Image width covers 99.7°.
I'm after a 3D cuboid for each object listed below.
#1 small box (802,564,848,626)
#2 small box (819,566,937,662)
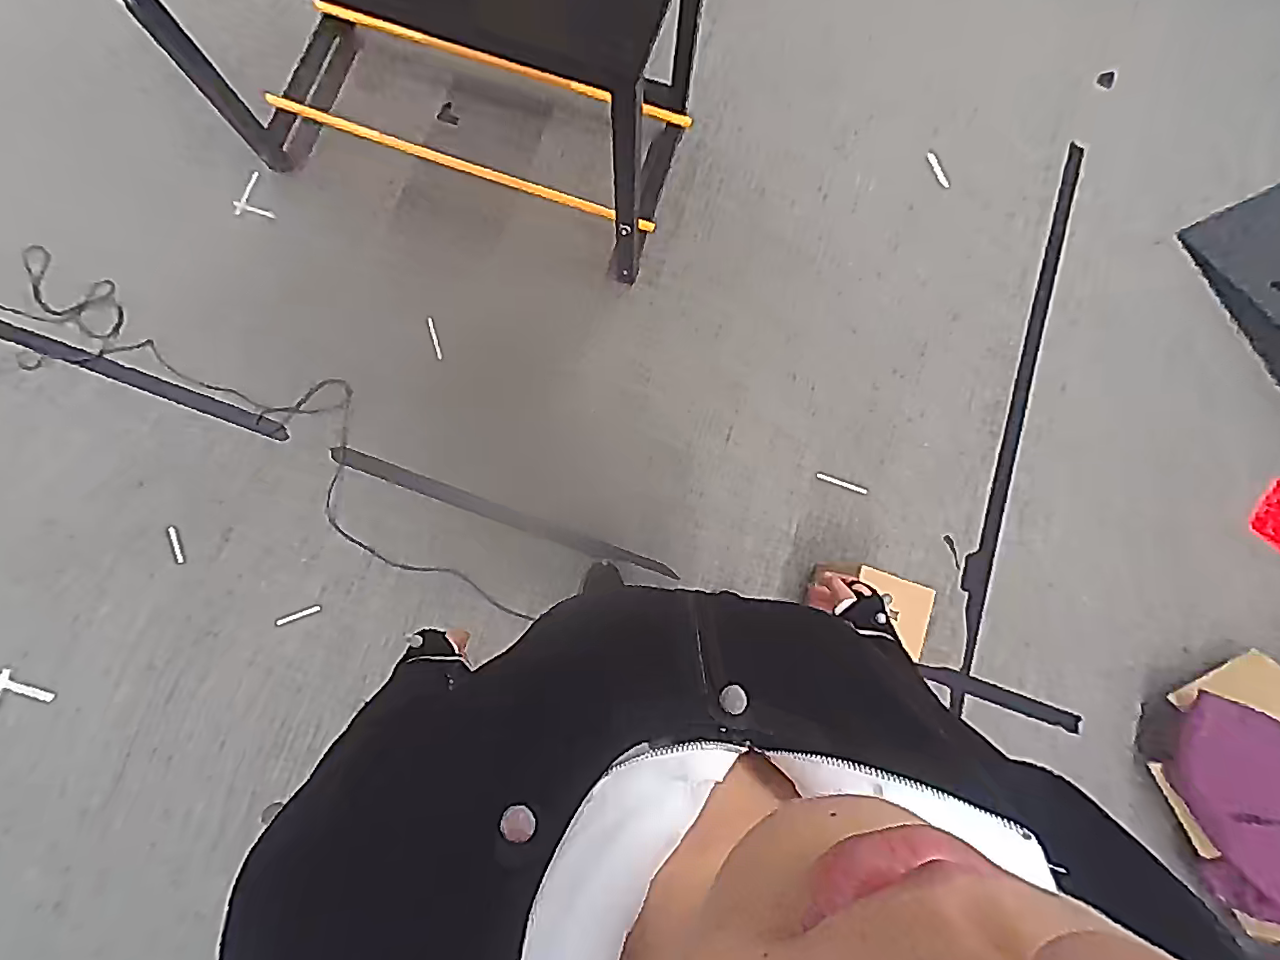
[{"bbox_3d":[0.555,0.327,1.430,0.179,0.176,0.168,19,80,3],"label":"small box"},{"bbox_3d":[0.549,0.305,1.265,0.179,0.176,0.168,20,80,2],"label":"small box"}]
